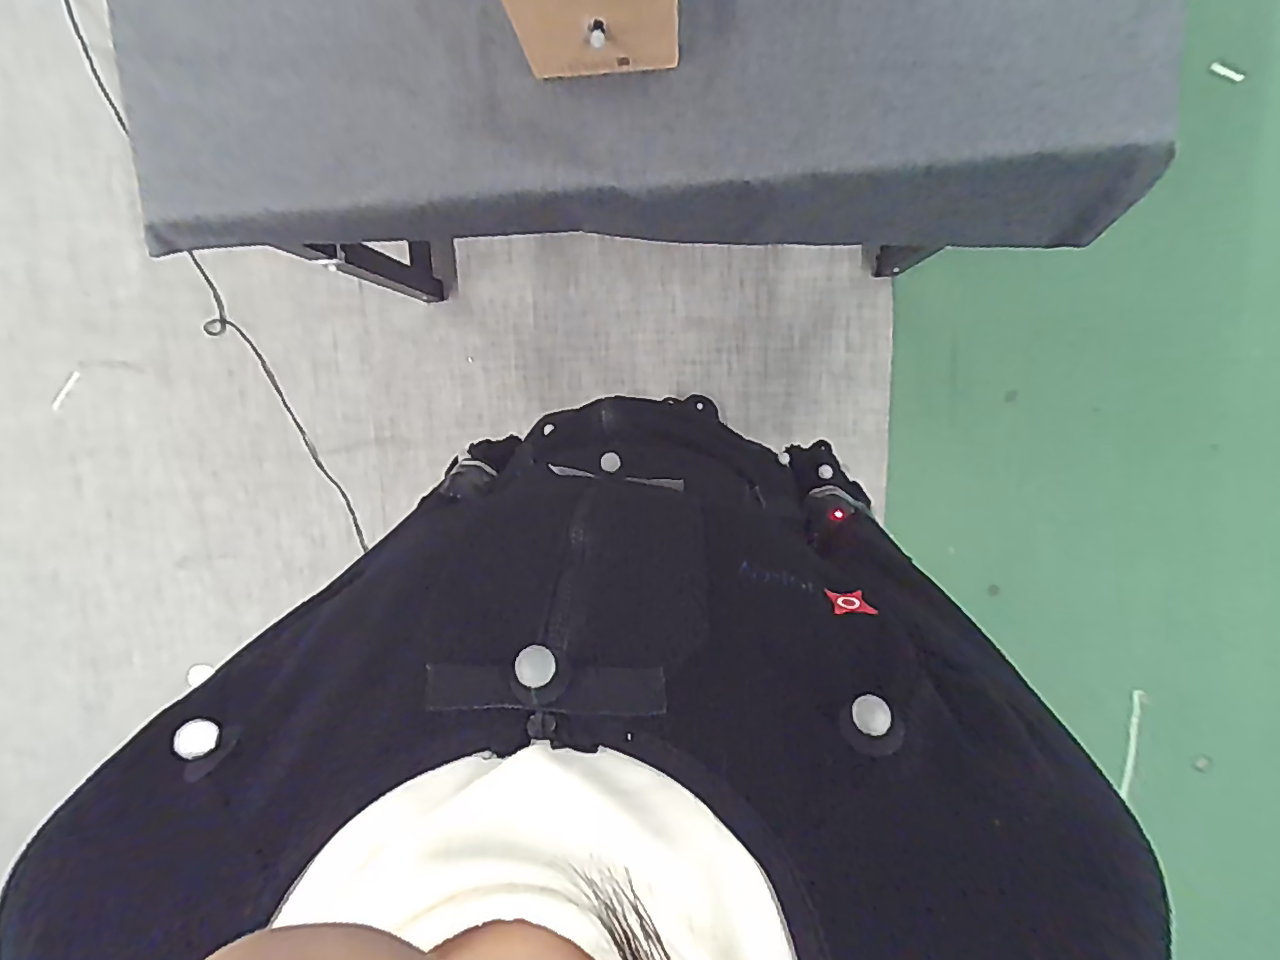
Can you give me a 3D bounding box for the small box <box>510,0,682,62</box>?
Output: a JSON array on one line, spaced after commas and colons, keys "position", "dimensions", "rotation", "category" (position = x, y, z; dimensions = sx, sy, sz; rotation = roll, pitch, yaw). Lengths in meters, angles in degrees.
[{"position": [-0.045, -0.544, 0.524], "dimensions": [0.168, 0.176, 0.179], "rotation": [-2, 100, 6], "category": "small box"}]
